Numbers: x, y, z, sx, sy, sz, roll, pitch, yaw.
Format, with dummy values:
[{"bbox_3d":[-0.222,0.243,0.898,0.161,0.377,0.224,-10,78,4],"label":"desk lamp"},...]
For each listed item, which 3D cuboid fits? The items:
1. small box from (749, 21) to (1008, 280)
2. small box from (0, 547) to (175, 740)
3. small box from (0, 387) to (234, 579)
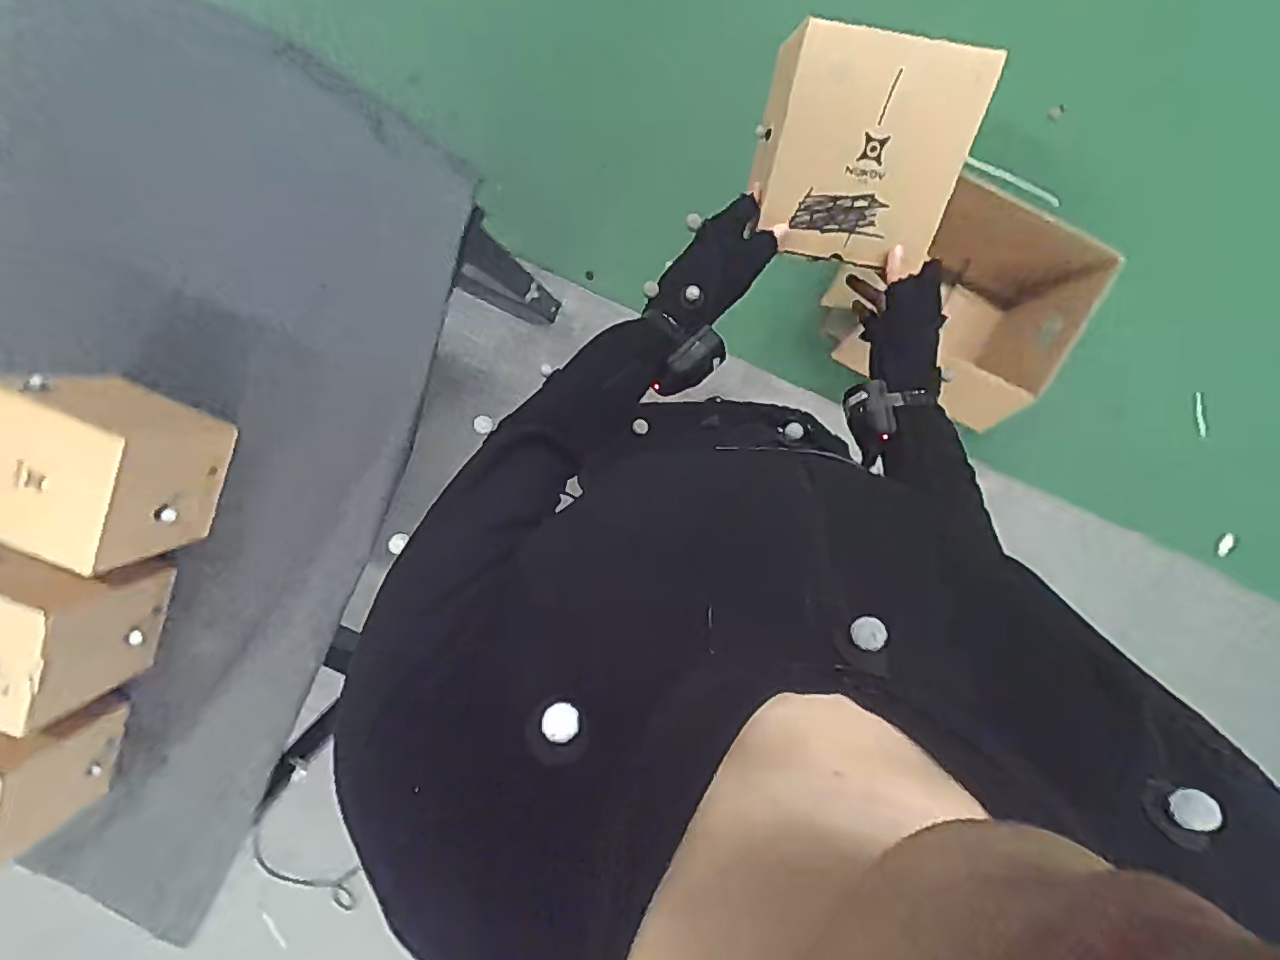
[{"bbox_3d":[0.212,-0.323,0.546,0.168,0.176,0.179,10,122,-1],"label":"small box"},{"bbox_3d":[-0.761,0.183,0.686,0.179,0.176,0.168,22,99,-2],"label":"small box"},{"bbox_3d":[-0.649,-0.009,0.656,0.179,0.176,0.168,22,99,-2],"label":"small box"}]
